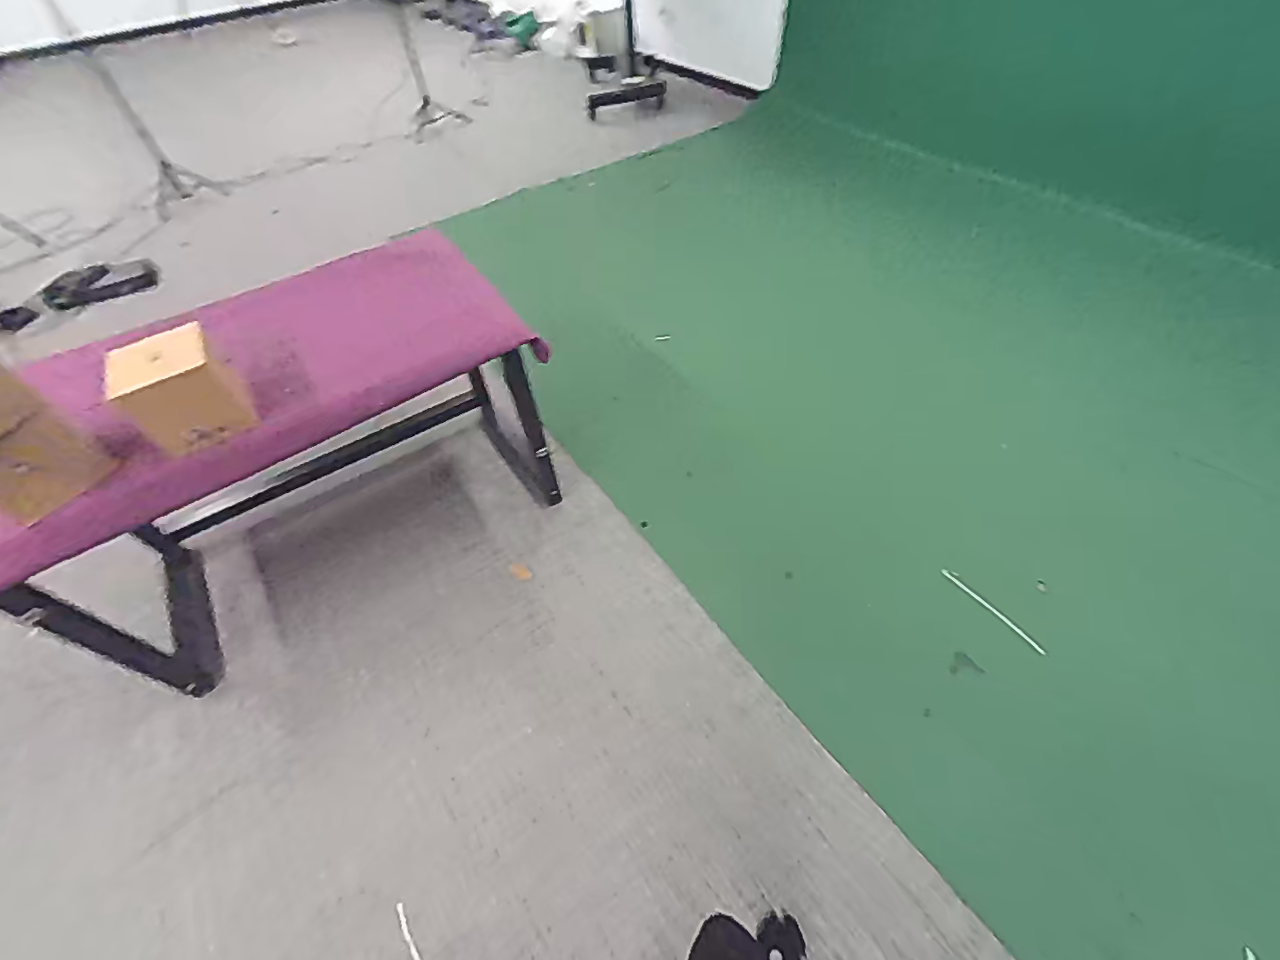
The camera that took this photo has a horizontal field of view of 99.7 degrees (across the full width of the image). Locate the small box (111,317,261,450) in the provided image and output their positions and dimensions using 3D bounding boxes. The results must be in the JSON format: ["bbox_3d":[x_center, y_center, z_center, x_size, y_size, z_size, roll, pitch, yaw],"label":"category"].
[{"bbox_3d":[-0.905,-0.192,1.089,0.168,0.176,0.179,-29,54,-17],"label":"small box"}]

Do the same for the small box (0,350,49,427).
[{"bbox_3d":[-1.140,-0.159,0.863,0.168,0.176,0.179,13,52,14],"label":"small box"}]

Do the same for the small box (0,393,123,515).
[{"bbox_3d":[-1.139,-0.065,1.000,0.168,0.176,0.179,24,56,21],"label":"small box"}]
